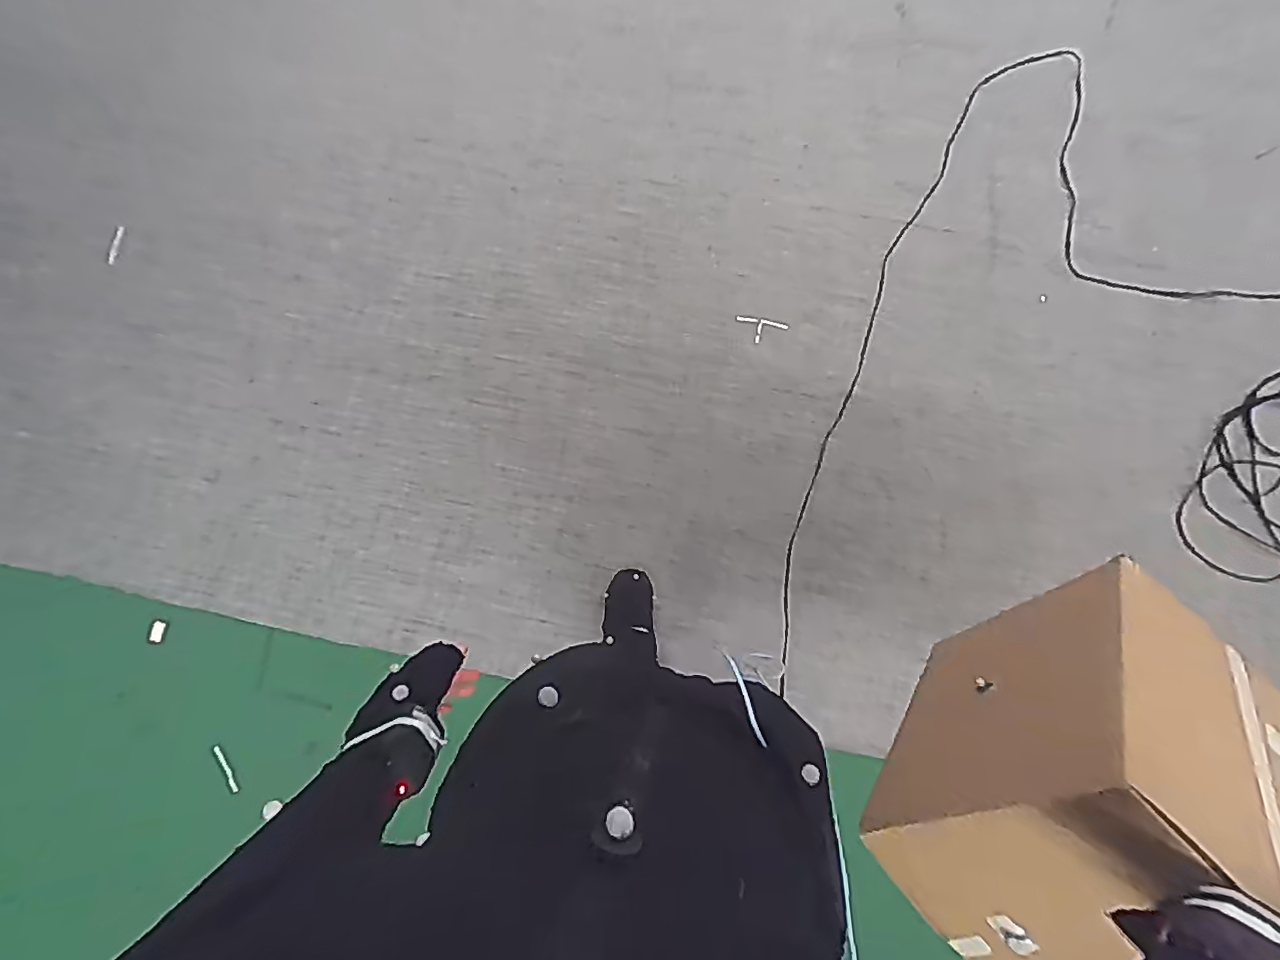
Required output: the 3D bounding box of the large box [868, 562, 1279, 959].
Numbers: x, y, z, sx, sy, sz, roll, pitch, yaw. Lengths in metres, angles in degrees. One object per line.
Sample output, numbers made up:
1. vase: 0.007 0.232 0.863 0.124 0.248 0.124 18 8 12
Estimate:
1. large box: 0.547 0.379 0.655 0.320 0.320 0.408 48 44 10
